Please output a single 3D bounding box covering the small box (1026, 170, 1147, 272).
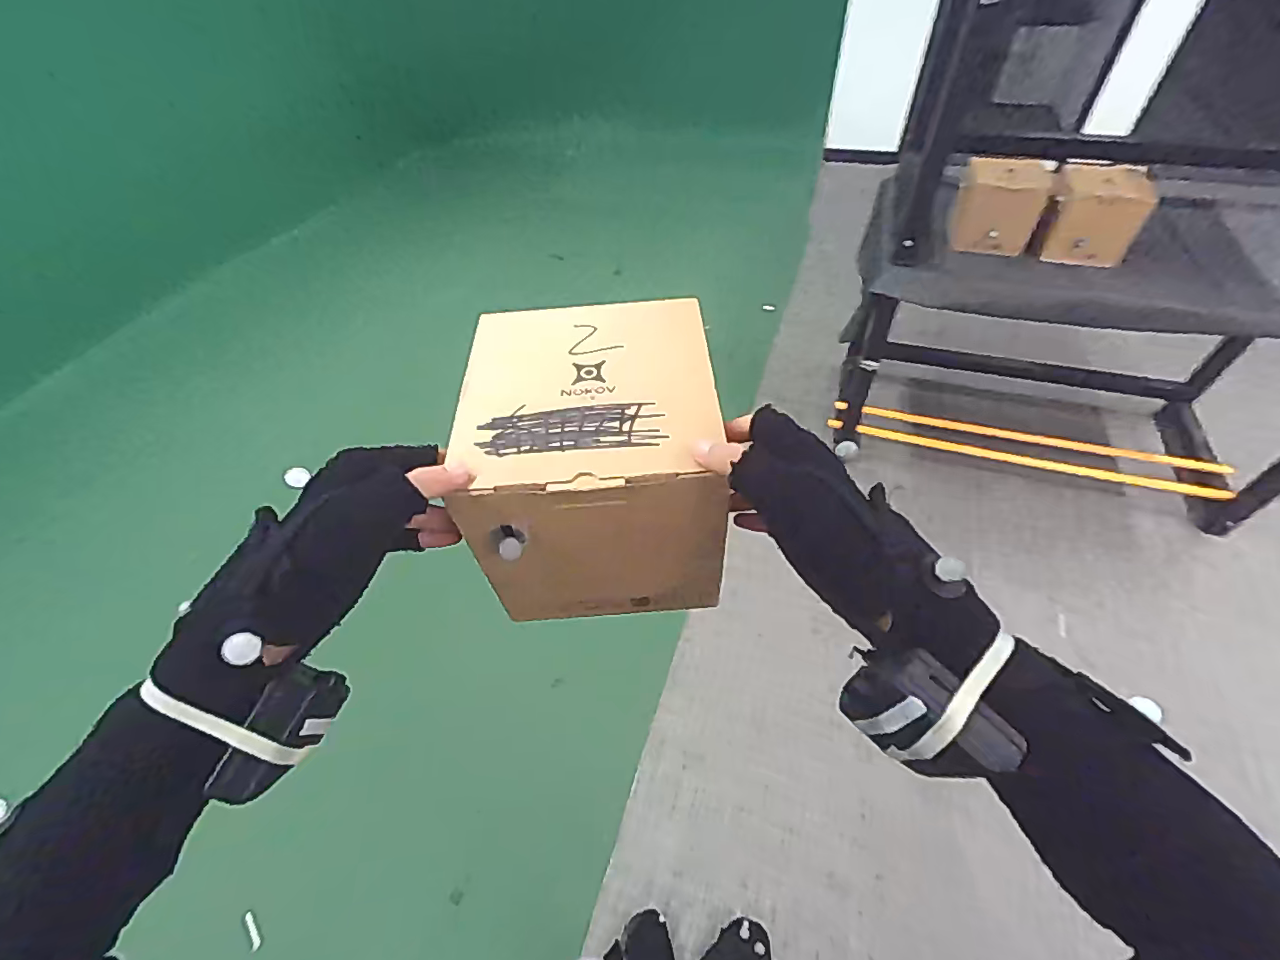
[{"bbox_3d":[1.096,-0.646,1.347,0.168,0.176,0.179,12,51,14],"label":"small box"}]

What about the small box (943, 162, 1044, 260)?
[{"bbox_3d":[0.901,-0.696,1.399,0.168,0.176,0.179,12,51,14],"label":"small box"}]
